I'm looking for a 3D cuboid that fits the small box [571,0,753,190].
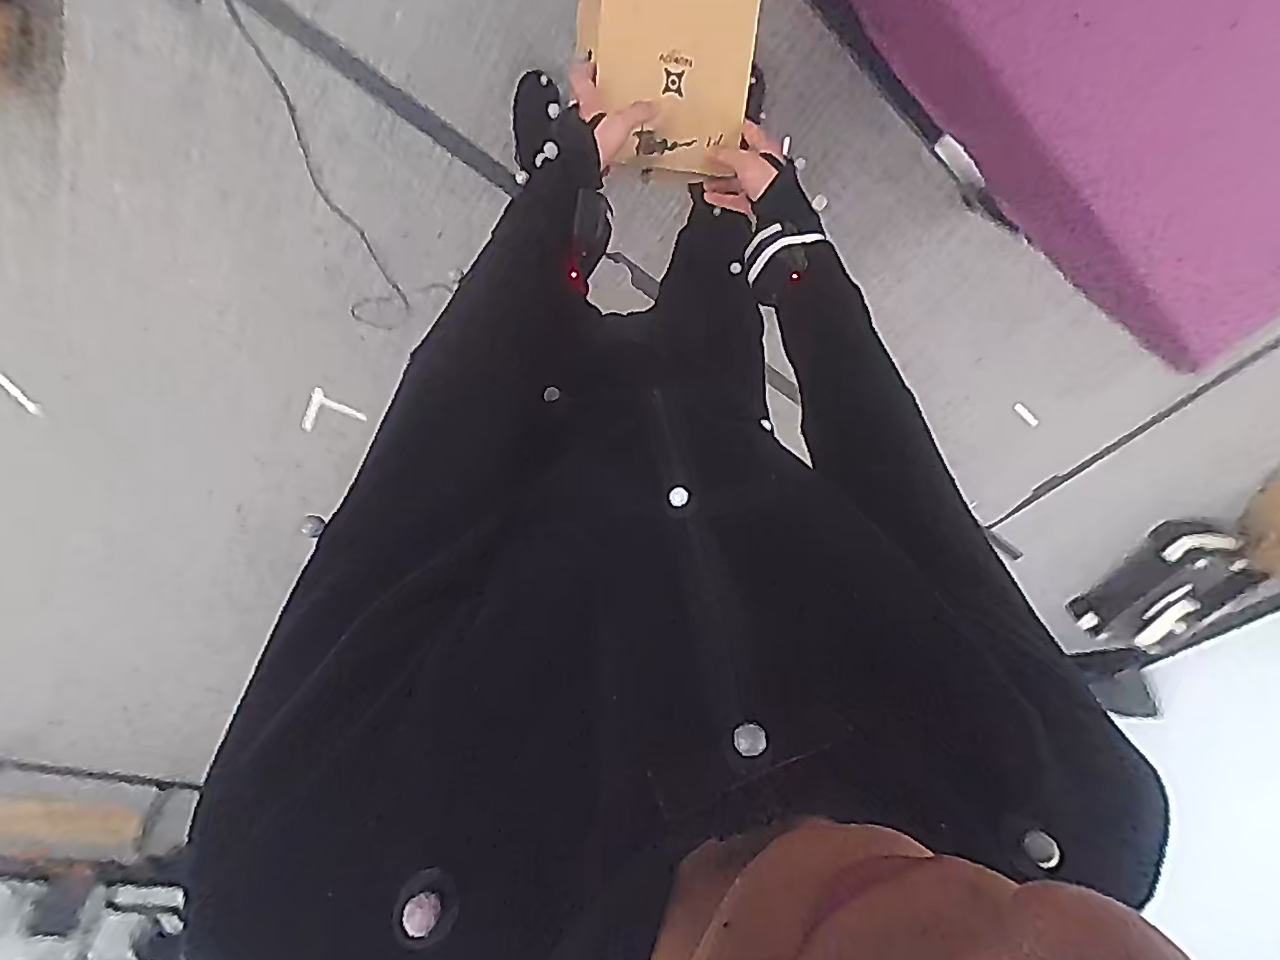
[{"bbox_3d":[0.011,-0.442,0.620,0.168,0.176,0.179,-2,116,-13],"label":"small box"}]
